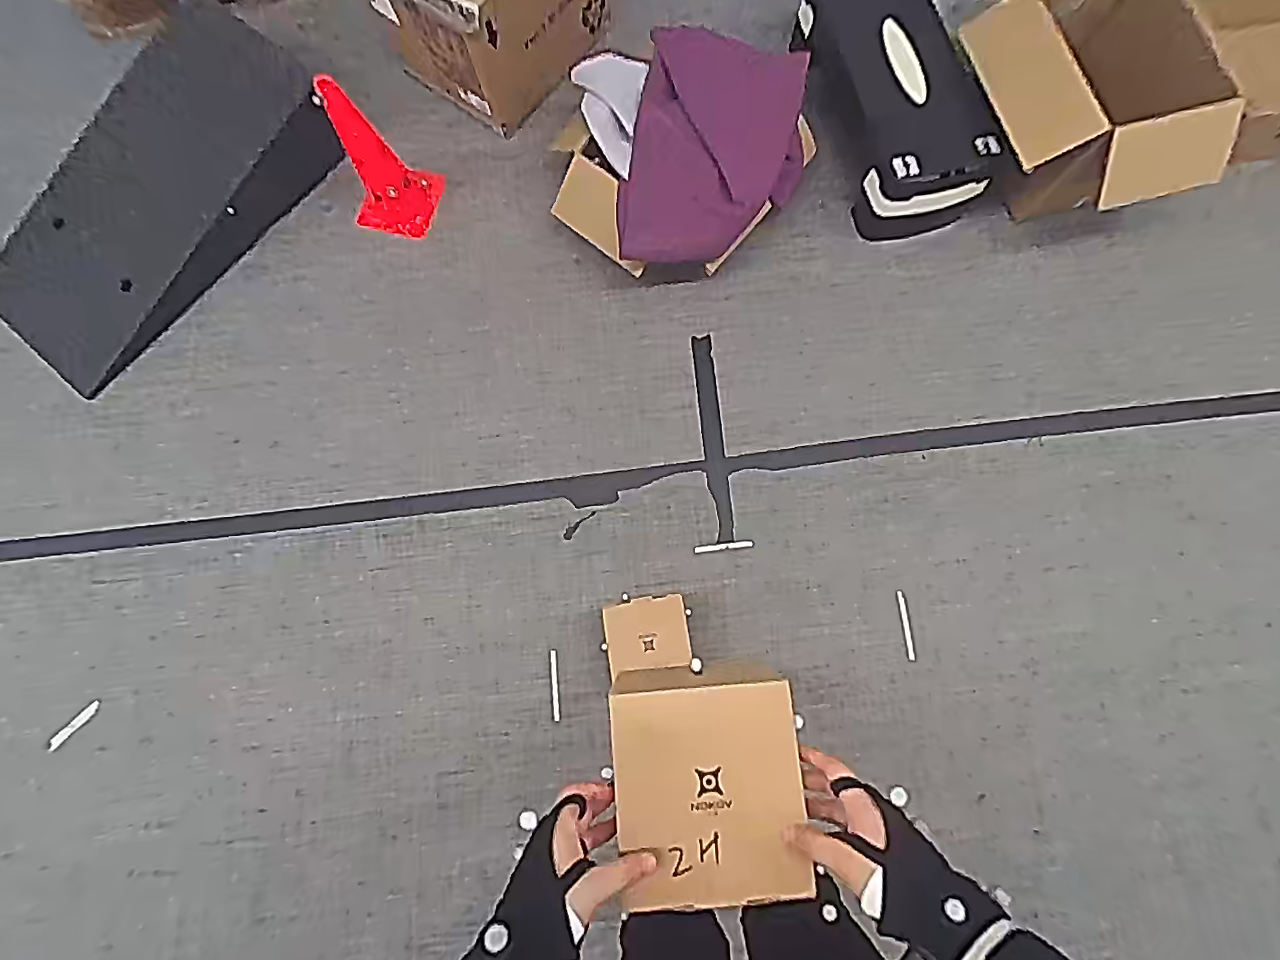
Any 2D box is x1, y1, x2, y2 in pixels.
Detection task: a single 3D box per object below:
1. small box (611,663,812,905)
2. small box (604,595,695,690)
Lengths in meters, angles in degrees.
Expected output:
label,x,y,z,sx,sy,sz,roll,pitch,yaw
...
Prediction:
label,x,y,z,sx,sy,sz,roll,pitch,yaw
small box,0.061,0.288,0.555,0.168,0.176,0.179,-5,78,1
small box,0.021,0.342,1.142,0.168,0.176,0.179,-10,79,1
